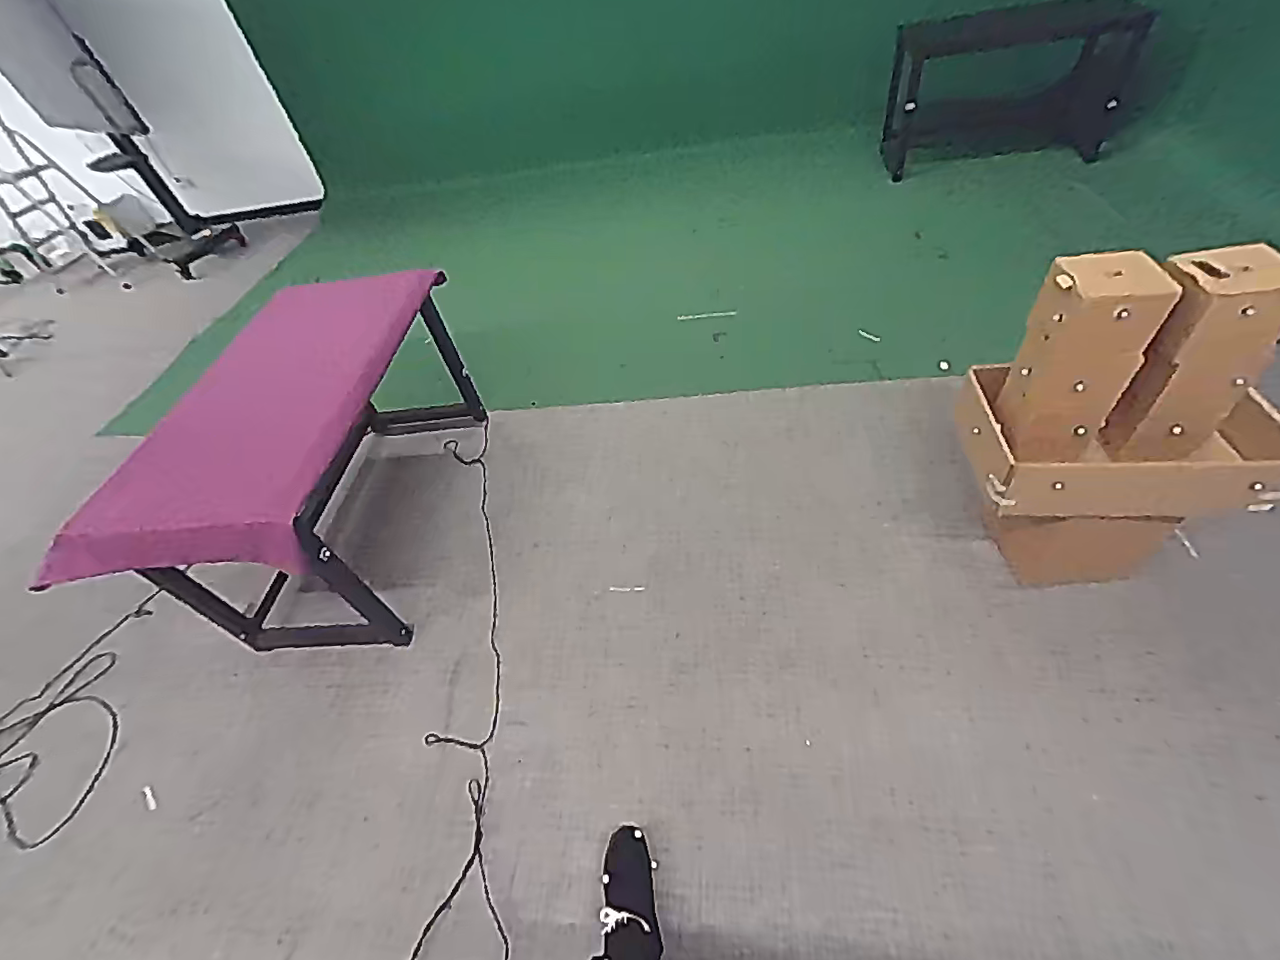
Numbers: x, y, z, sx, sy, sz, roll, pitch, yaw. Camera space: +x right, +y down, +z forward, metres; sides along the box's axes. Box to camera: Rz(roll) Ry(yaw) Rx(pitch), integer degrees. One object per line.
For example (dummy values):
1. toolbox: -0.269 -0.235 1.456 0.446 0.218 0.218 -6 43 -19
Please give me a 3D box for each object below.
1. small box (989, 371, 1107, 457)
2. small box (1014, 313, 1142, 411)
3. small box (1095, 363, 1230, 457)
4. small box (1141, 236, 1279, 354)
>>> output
1. small box: 1.064 -0.173 1.427 0.179 0.176 0.168 0 48 11
2. small box: 1.039 -0.281 1.308 0.179 0.176 0.168 -1 49 11
3. small box: 1.313 -0.175 1.382 0.179 0.176 0.168 -4 48 12
4. small box: 1.223 -0.386 1.146 0.179 0.176 0.168 -6 48 10
